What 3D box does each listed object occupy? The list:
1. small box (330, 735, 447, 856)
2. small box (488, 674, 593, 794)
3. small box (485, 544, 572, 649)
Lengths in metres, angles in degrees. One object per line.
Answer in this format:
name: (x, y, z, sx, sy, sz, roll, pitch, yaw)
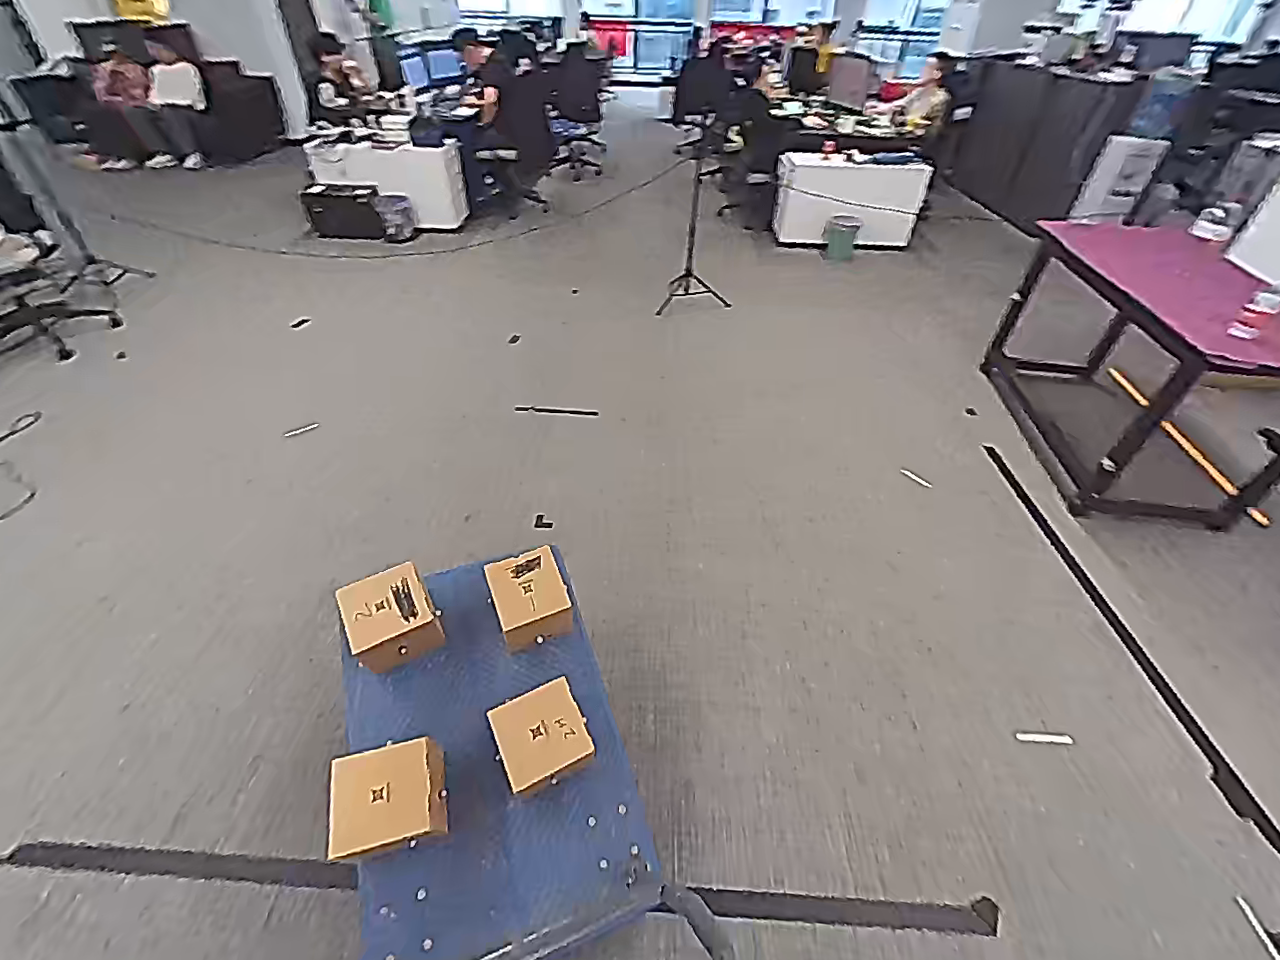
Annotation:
small box: (-0.495, 0.634, 1.082, 0.179, 0.176, 0.168, -9, 57, -15)
small box: (-0.211, 0.555, 1.171, 0.179, 0.176, 0.168, -20, 60, -19)
small box: (-0.275, 0.293, 1.345, 0.168, 0.176, 0.179, -18, 60, -18)
